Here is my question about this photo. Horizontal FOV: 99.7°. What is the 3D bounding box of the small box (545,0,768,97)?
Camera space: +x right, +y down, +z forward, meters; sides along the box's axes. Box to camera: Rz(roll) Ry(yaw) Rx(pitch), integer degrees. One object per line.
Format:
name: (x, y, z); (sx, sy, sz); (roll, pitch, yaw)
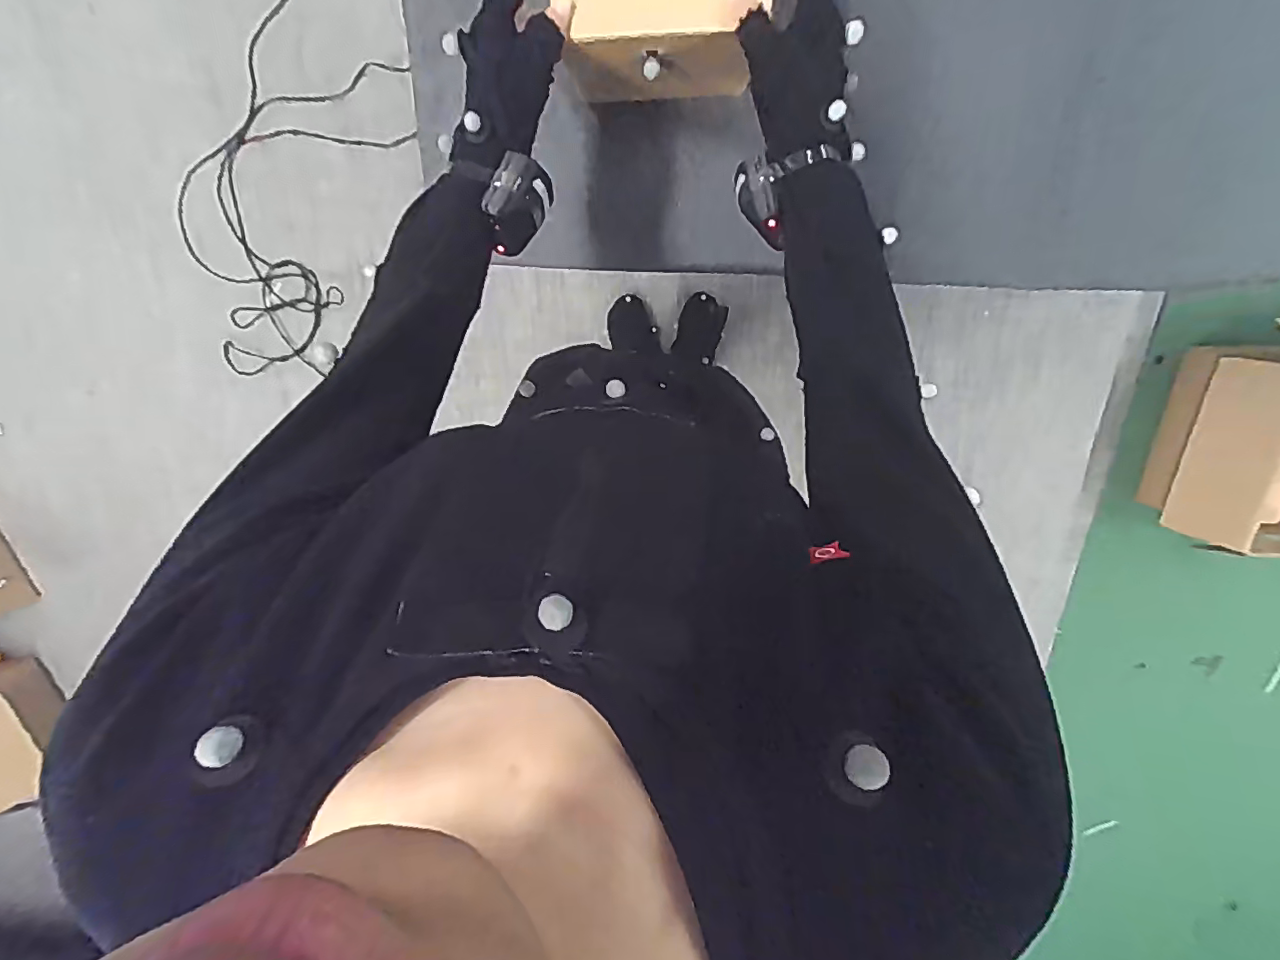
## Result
small box: (0.015, -0.456, 0.472); (0.179, 0.176, 0.168); (0, 111, 4)
